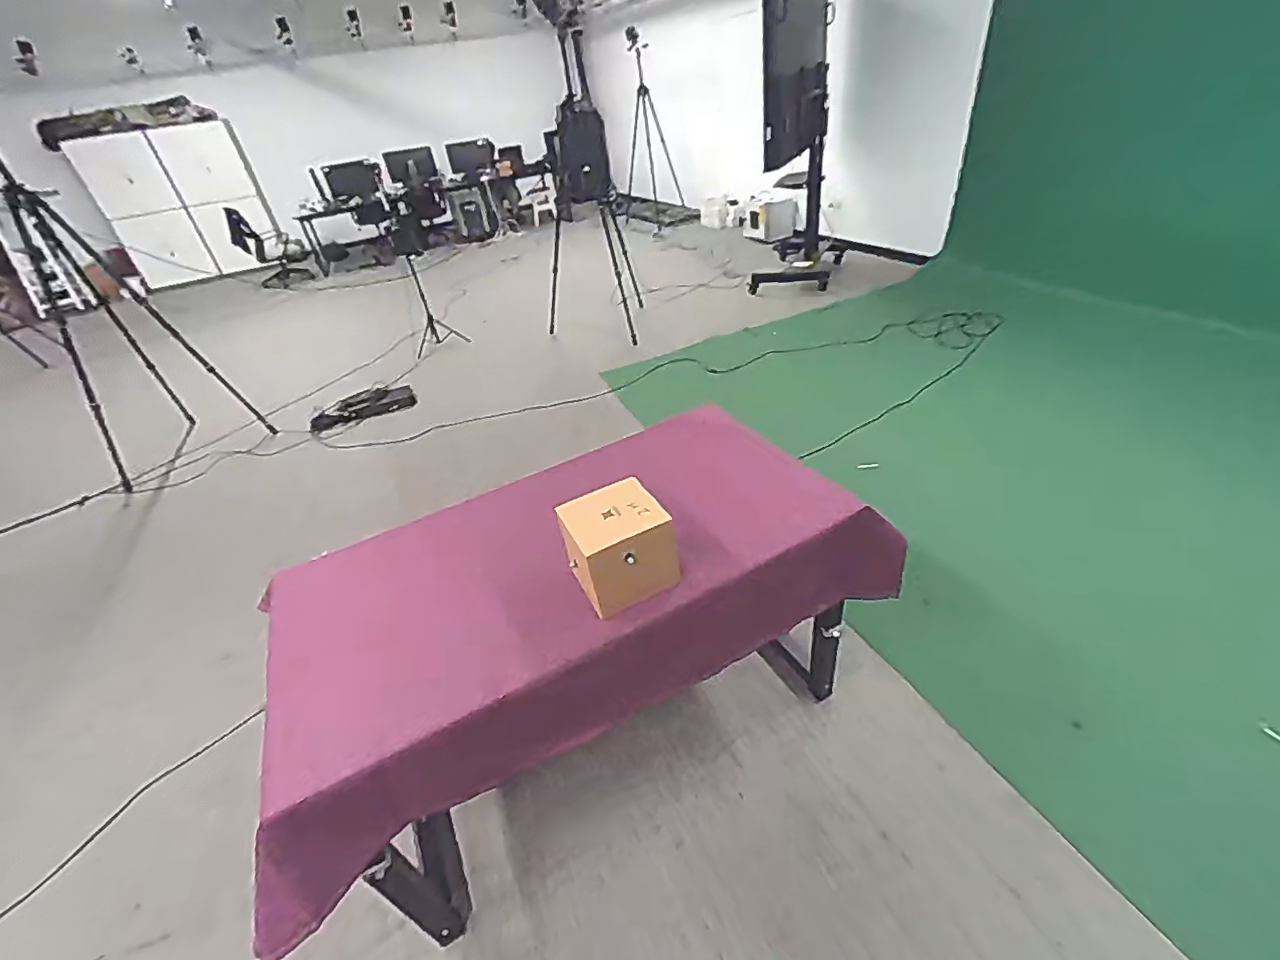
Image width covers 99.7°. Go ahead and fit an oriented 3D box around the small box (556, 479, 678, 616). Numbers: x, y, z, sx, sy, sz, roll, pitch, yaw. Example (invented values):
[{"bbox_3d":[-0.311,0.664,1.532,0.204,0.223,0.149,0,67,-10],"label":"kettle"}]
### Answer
[{"bbox_3d":[-0.041,0.132,1.053,0.179,0.176,0.168,-21,38,-17],"label":"small box"}]
